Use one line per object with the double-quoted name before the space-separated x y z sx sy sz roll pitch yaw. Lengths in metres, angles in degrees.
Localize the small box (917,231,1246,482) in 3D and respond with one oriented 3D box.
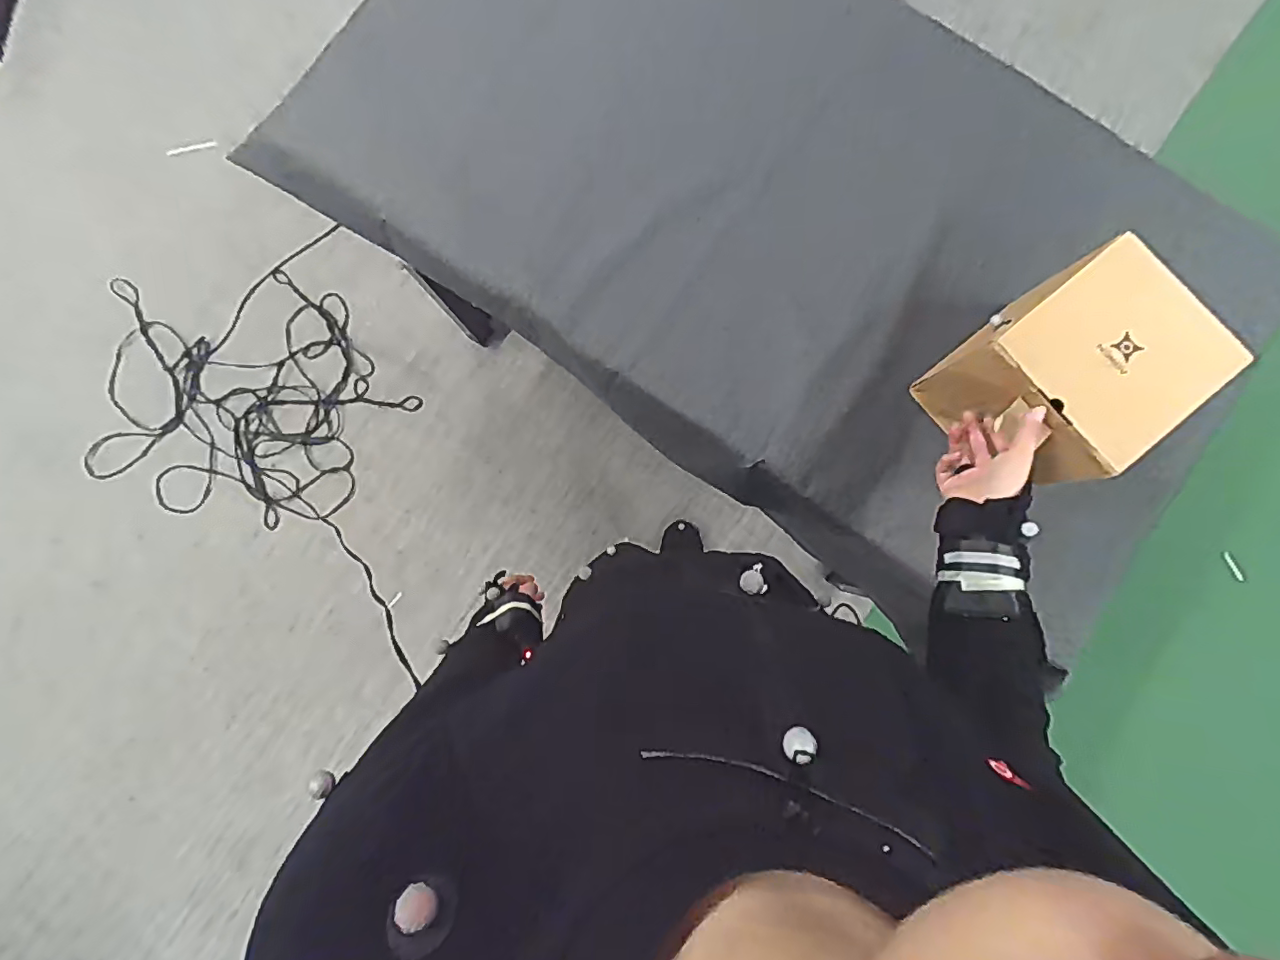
"small box" 0.445 -0.115 0.579 0.179 0.176 0.168 -40 86 -3
